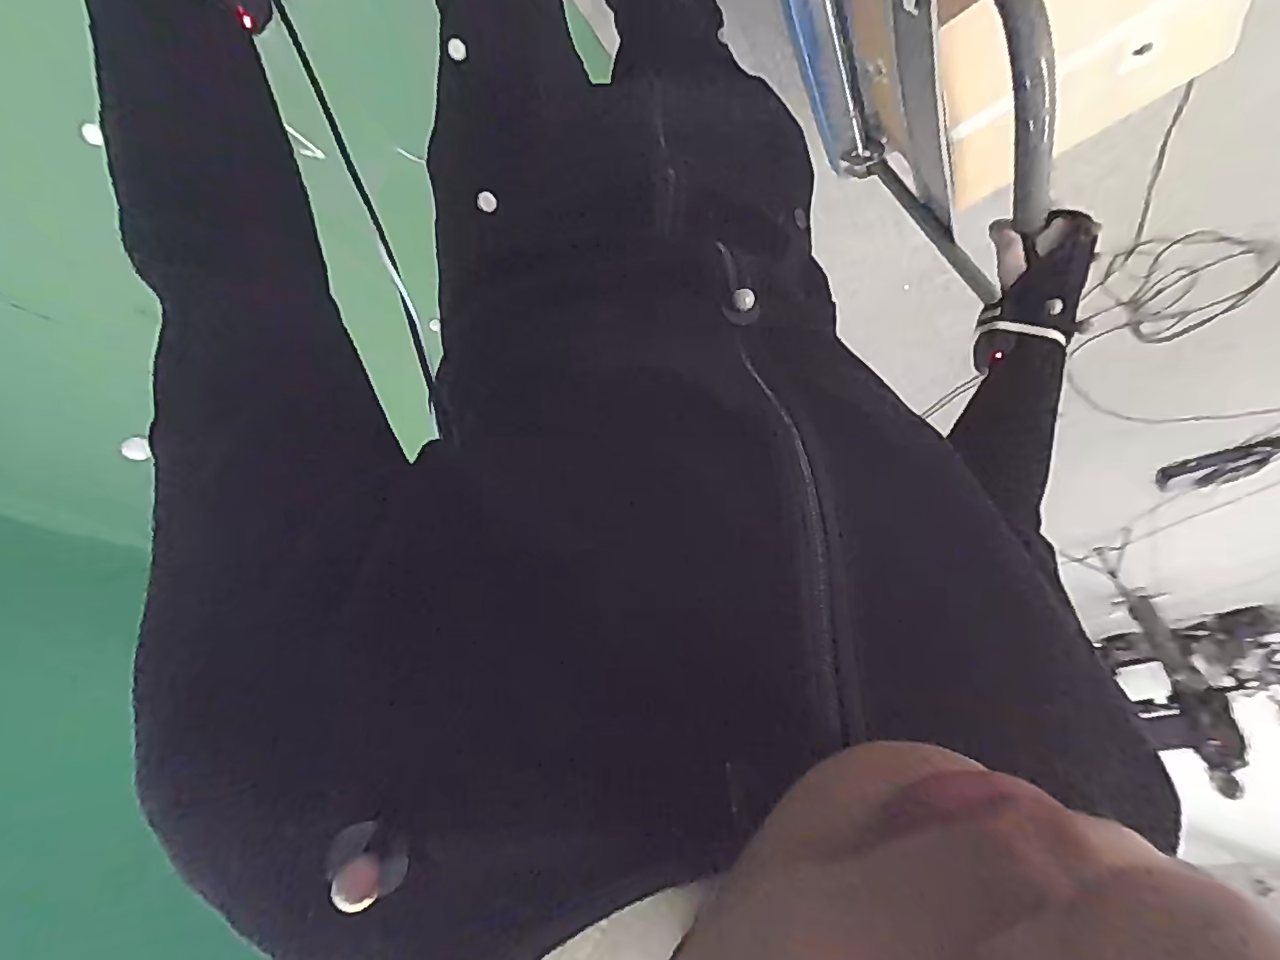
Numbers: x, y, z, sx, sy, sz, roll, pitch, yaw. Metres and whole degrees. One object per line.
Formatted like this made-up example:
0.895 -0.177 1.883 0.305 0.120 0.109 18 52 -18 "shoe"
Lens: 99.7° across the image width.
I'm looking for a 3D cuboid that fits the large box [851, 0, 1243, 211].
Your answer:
0.617 -0.740 0.862 0.408 0.320 0.320 -27 142 20 "large box"
